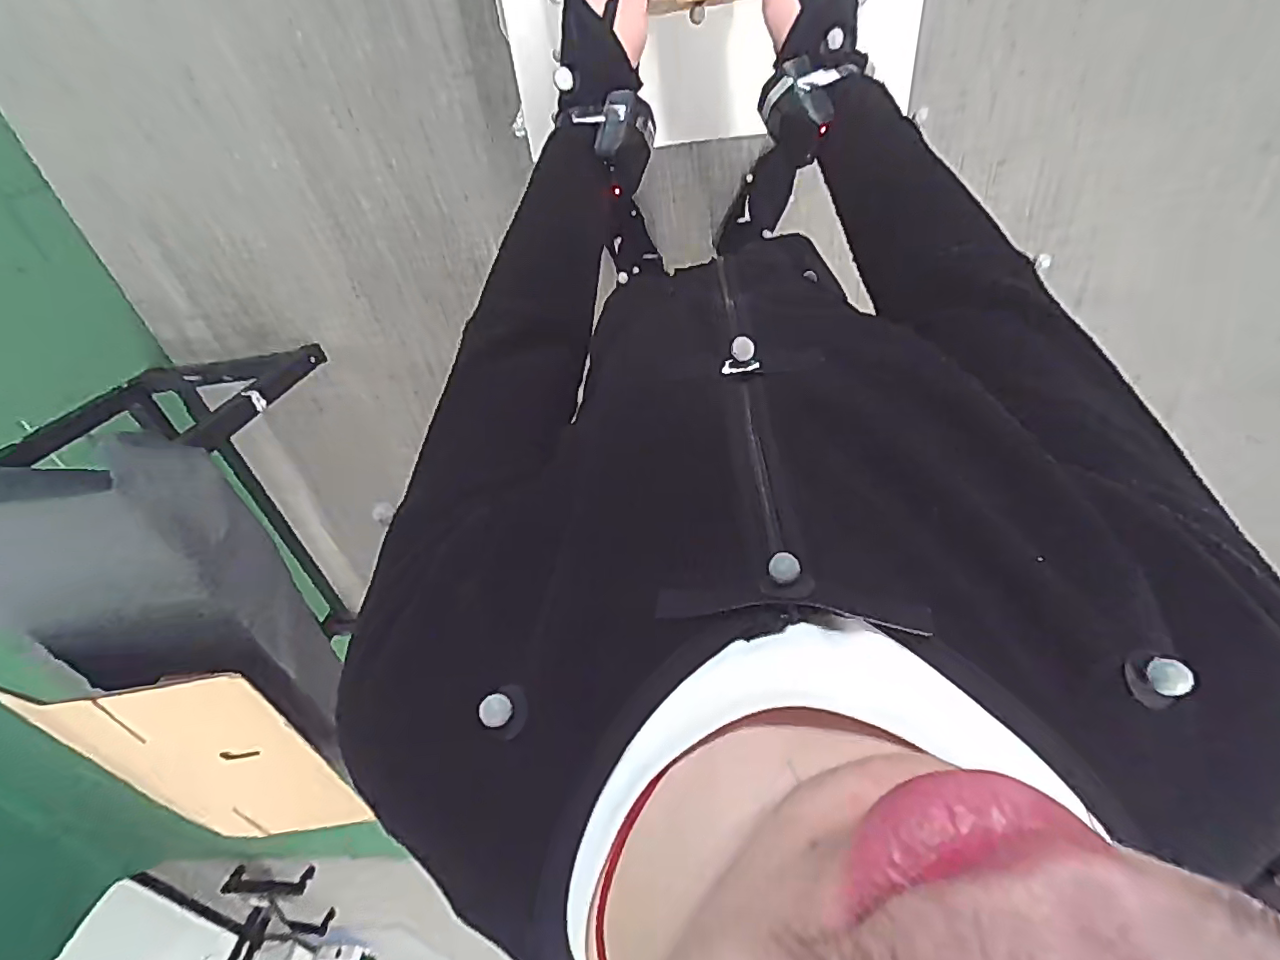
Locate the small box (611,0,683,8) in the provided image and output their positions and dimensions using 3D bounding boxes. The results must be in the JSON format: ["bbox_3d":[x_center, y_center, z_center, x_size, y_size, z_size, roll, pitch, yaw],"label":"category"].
[{"bbox_3d":[0.045,-0.538,0.468,0.168,0.176,0.179,-6,126,7],"label":"small box"}]
